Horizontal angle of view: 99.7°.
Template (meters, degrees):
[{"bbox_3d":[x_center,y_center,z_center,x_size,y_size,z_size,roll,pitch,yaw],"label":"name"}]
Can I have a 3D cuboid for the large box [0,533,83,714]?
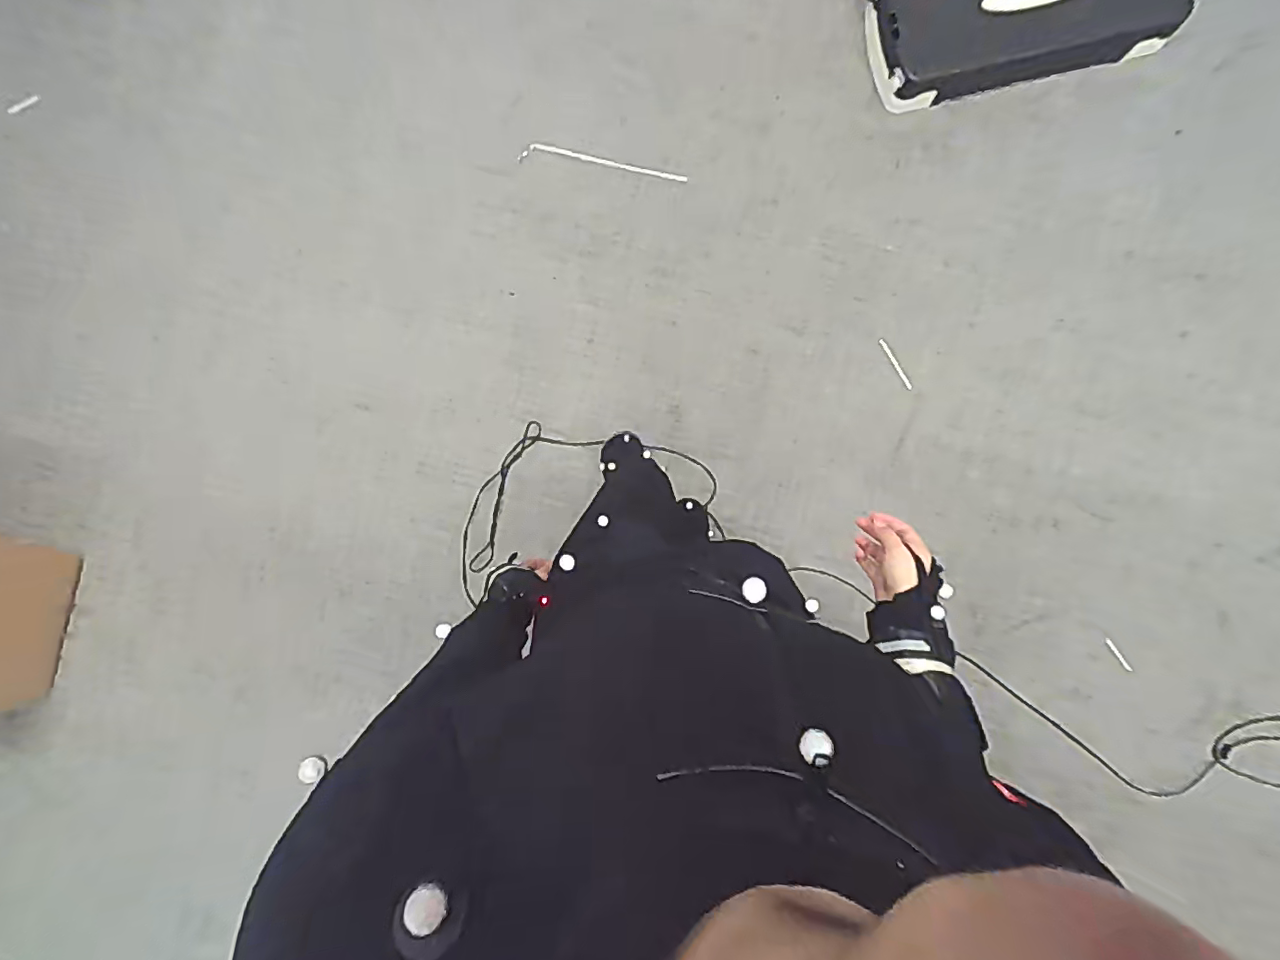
[{"bbox_3d":[-1.701,0.361,1.323,0.320,0.320,0.408,15,90,2],"label":"large box"}]
